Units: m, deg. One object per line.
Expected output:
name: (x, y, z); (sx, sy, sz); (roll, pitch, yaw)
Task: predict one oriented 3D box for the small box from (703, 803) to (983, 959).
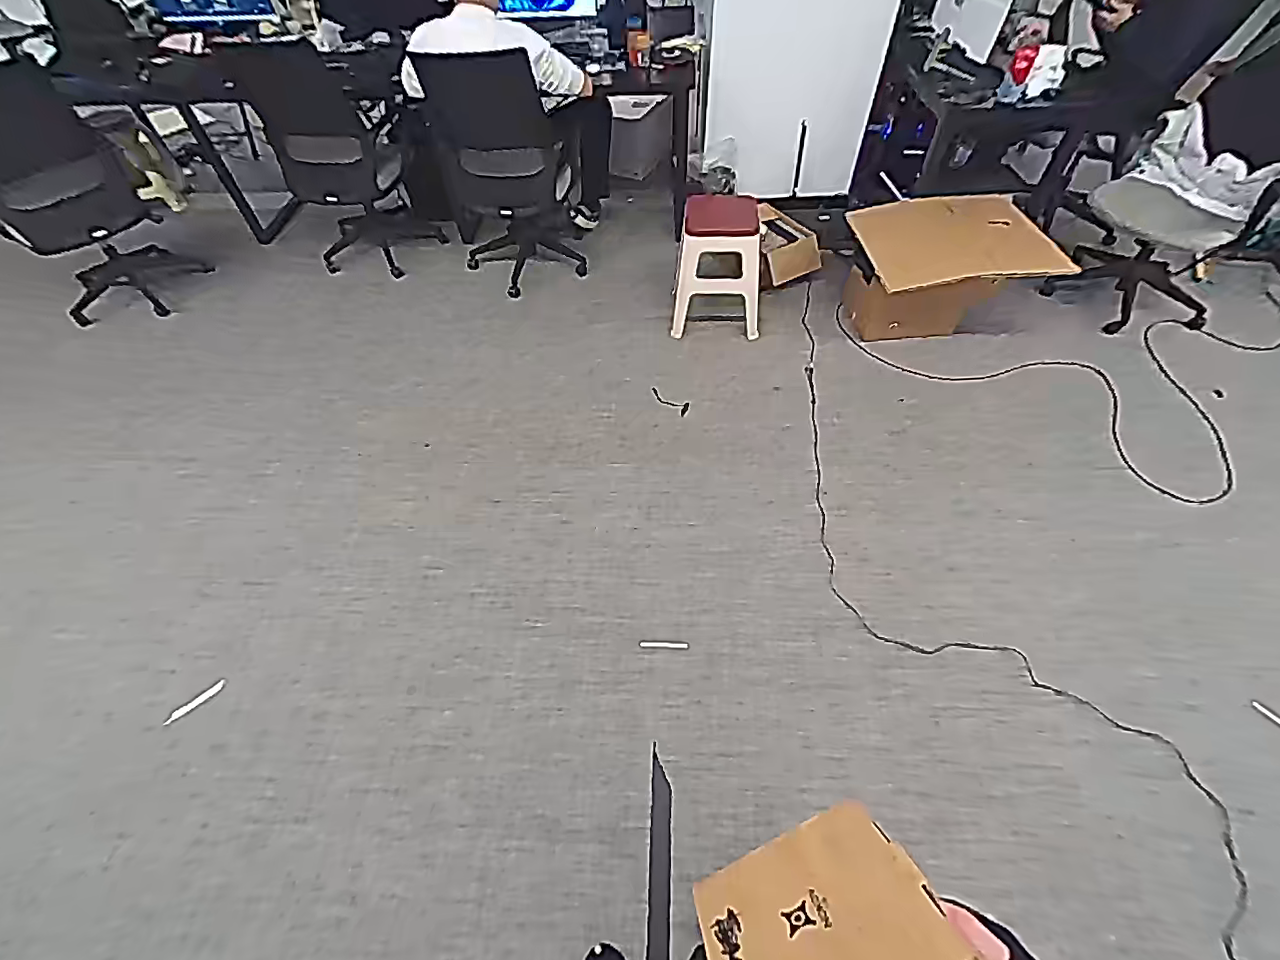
small box: (0.176, 0.420, 0.438); (0.179, 0.168, 0.176); (-26, 93, -3)
